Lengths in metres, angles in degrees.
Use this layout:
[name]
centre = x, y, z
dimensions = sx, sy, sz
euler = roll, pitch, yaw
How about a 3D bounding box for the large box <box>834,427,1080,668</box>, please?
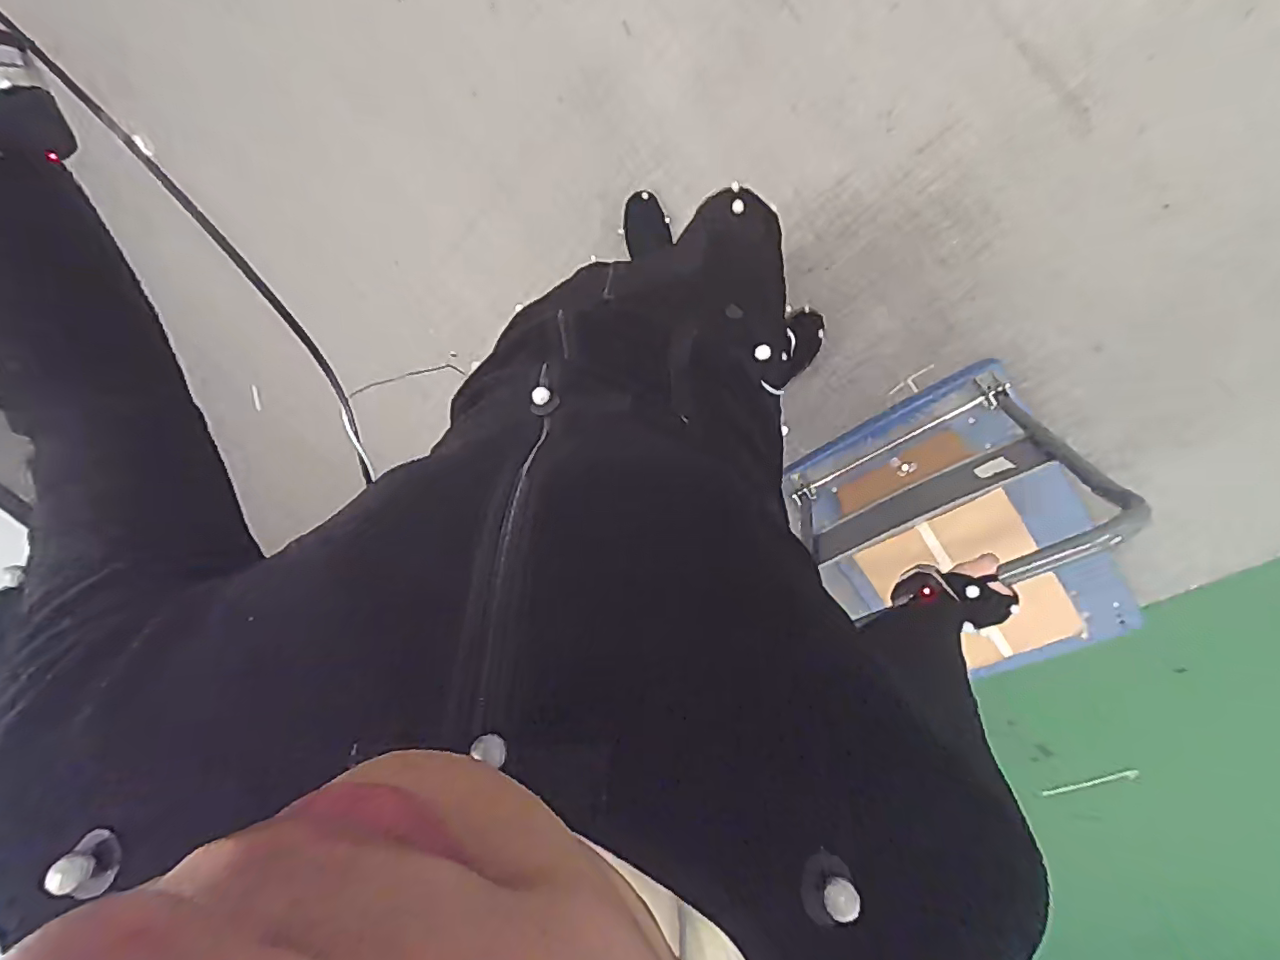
[large box]
centre = 0.716, 0.154, 1.280
dimensions = 0.320, 0.320, 0.408
euler = -32, 106, 26
